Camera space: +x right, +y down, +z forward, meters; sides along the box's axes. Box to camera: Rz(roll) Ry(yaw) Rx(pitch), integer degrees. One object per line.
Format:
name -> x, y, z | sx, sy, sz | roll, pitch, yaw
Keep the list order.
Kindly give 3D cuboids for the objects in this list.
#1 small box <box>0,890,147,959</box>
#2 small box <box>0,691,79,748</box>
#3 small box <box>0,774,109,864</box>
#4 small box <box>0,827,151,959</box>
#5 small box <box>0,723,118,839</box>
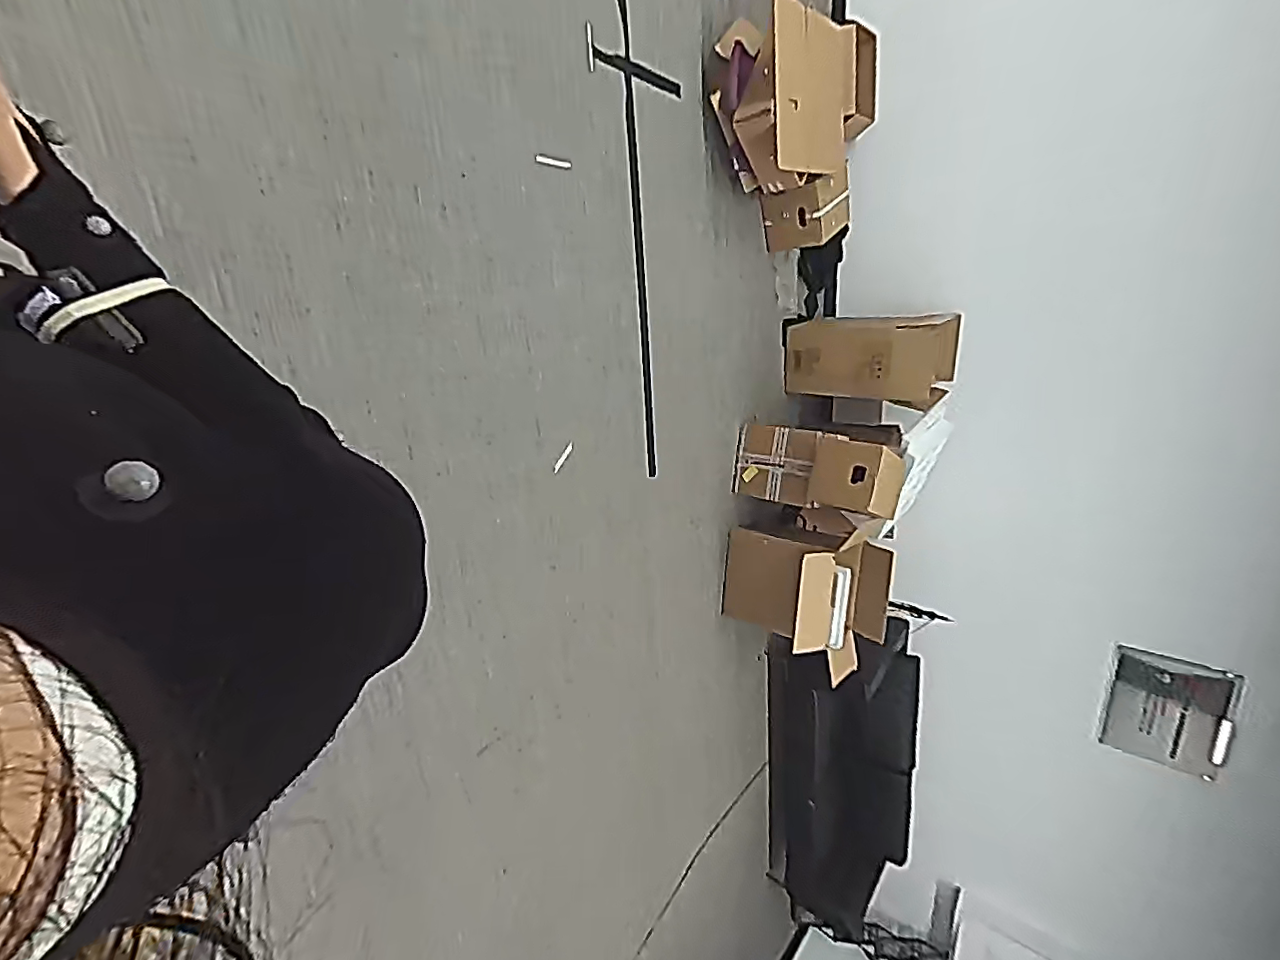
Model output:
small box -> -0.655, 0.617, 0.598 | 0.168, 0.176, 0.179 | -25, 115, -48
small box -> -1.160, 0.529, 1.003 | 0.179, 0.176, 0.168 | -23, 115, -47
small box -> -0.908, 0.572, 0.799 | 0.168, 0.176, 0.179 | -20, 112, -48
small box -> -0.779, 0.595, 0.700 | 0.168, 0.176, 0.179 | -22, 115, -48
small box -> -1.029, 0.546, 0.906 | 0.179, 0.176, 0.168 | -19, 112, -48
